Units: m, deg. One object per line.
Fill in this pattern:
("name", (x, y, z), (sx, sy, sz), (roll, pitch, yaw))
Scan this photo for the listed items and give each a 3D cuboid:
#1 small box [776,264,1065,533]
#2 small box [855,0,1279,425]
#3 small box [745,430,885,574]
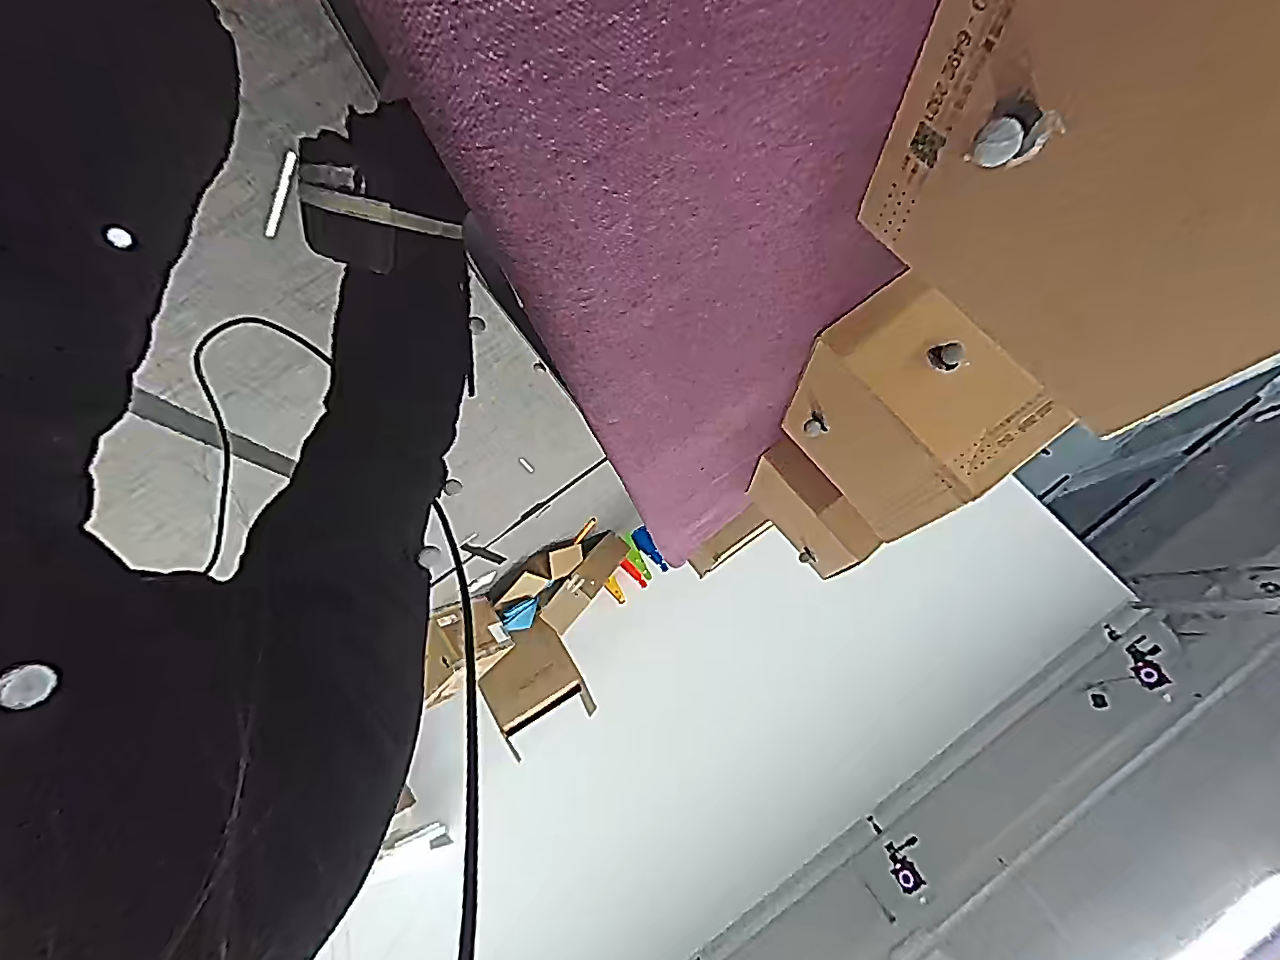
("small box", (0.254, -0.076, 0.491), (0.168, 0.176, 0.179), (-37, 163, -7))
("small box", (0.228, -0.160, 0.216), (0.179, 0.176, 0.168), (-35, 164, -6))
("small box", (0.261, 0.001, 0.725), (0.168, 0.176, 0.179), (-38, 164, -7))
